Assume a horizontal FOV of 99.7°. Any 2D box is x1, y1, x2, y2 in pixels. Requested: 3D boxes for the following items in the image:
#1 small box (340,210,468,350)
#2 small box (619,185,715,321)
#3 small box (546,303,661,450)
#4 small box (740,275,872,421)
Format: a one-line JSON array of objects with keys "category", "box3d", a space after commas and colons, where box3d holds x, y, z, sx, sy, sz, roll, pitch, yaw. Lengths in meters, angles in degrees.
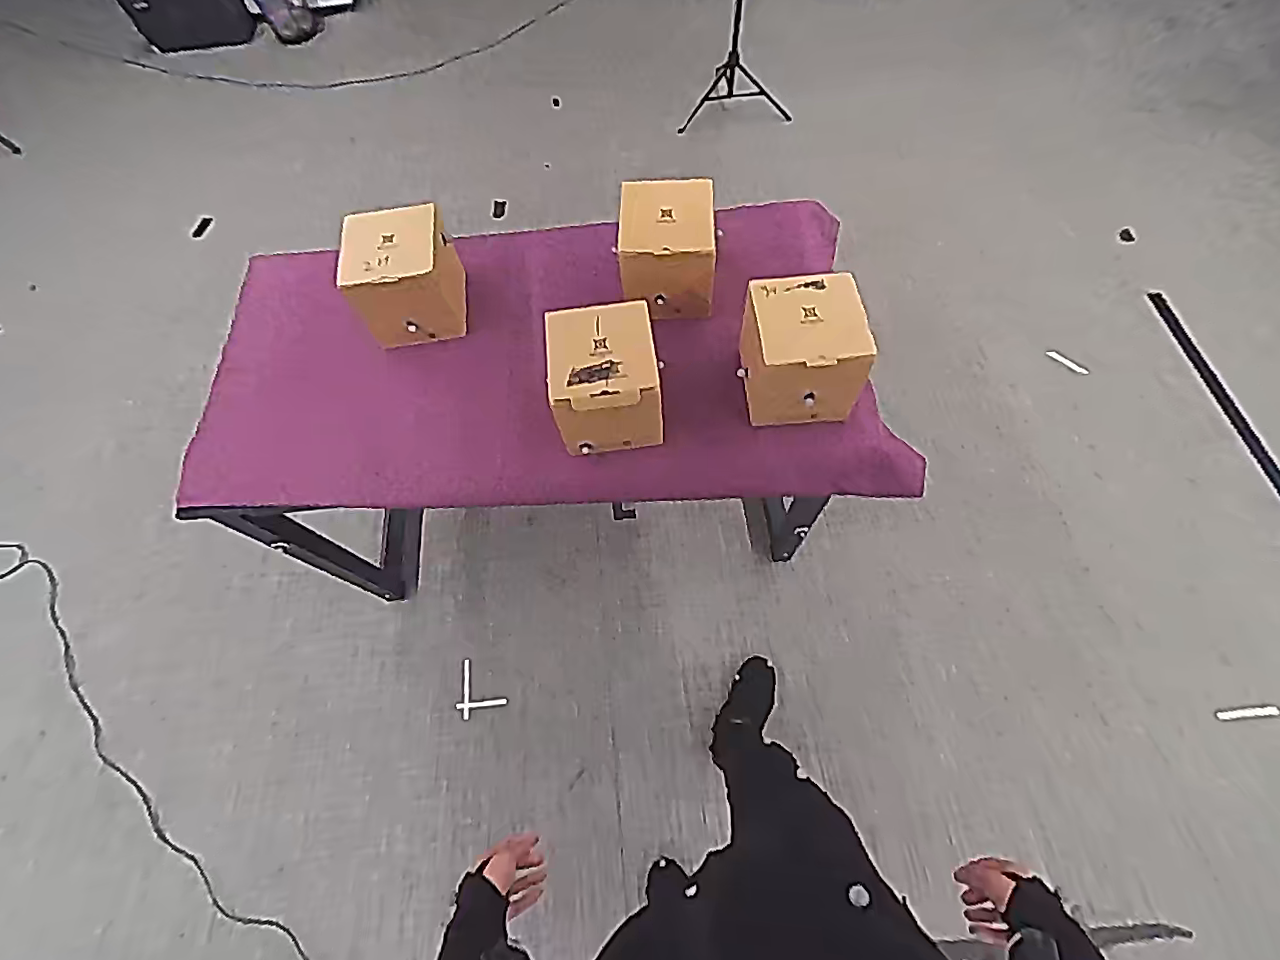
[{"category": "small box", "box3d": [-0.435, -0.374, 1.025, 0.168, 0.176, 0.179, -9, 65, -1]}, {"category": "small box", "box3d": [0.051, -0.423, 1.019, 0.168, 0.176, 0.179, 0, 66, 4]}, {"category": "small box", "box3d": [-0.056, -0.162, 0.898, 0.168, 0.176, 0.179, -7, 63, 0]}, {"category": "small box", "box3d": [0.263, -0.209, 0.899, 0.168, 0.176, 0.179, -4, 63, 2]}]
